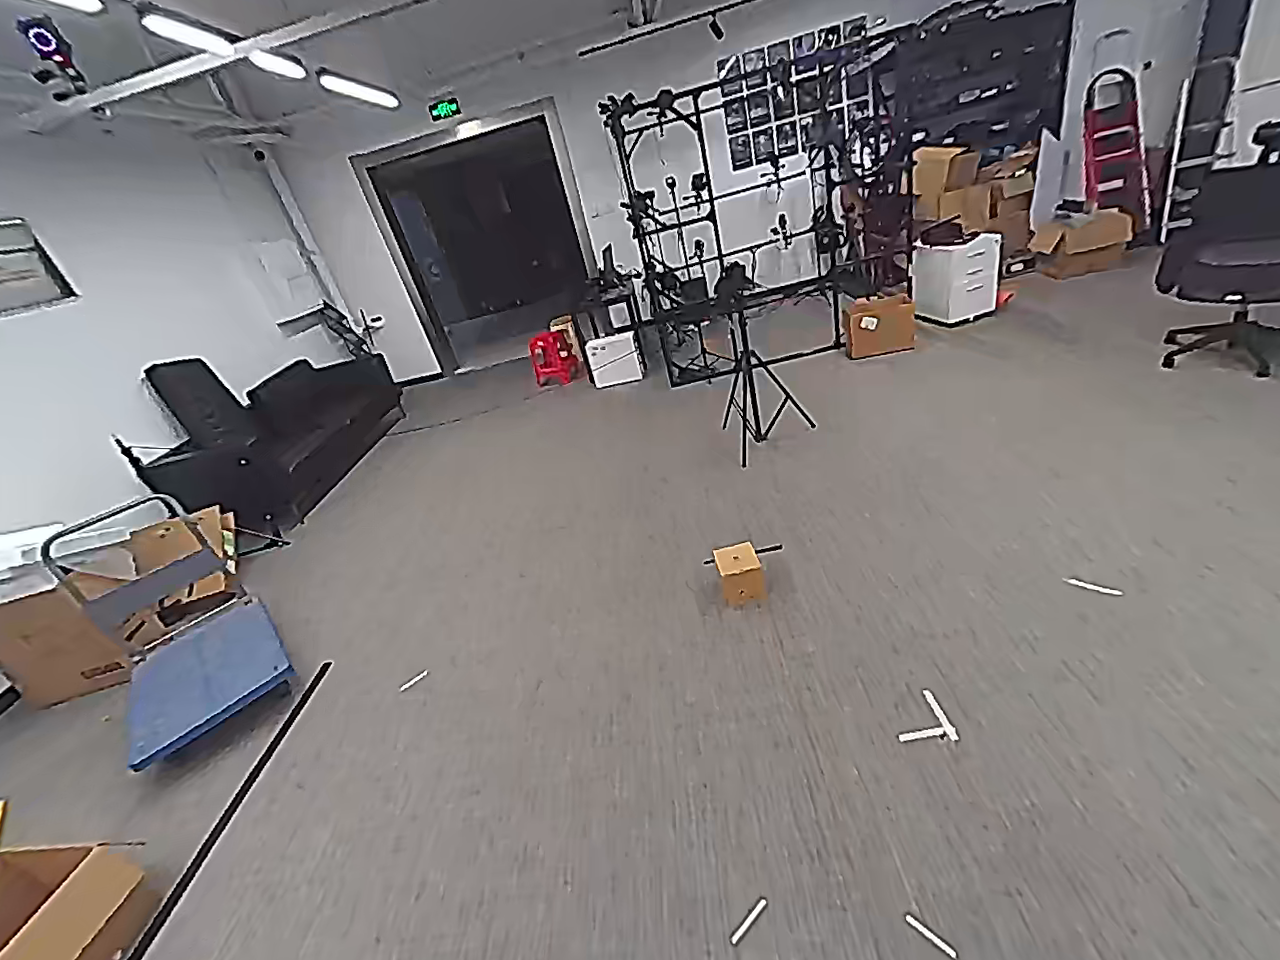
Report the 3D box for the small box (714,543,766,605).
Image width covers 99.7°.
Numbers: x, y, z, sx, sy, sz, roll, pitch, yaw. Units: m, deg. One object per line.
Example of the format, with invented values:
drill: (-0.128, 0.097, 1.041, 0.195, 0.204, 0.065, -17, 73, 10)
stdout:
small box: (0.414, 0.391, 2.251, 0.168, 0.176, 0.179, -15, 28, 2)
